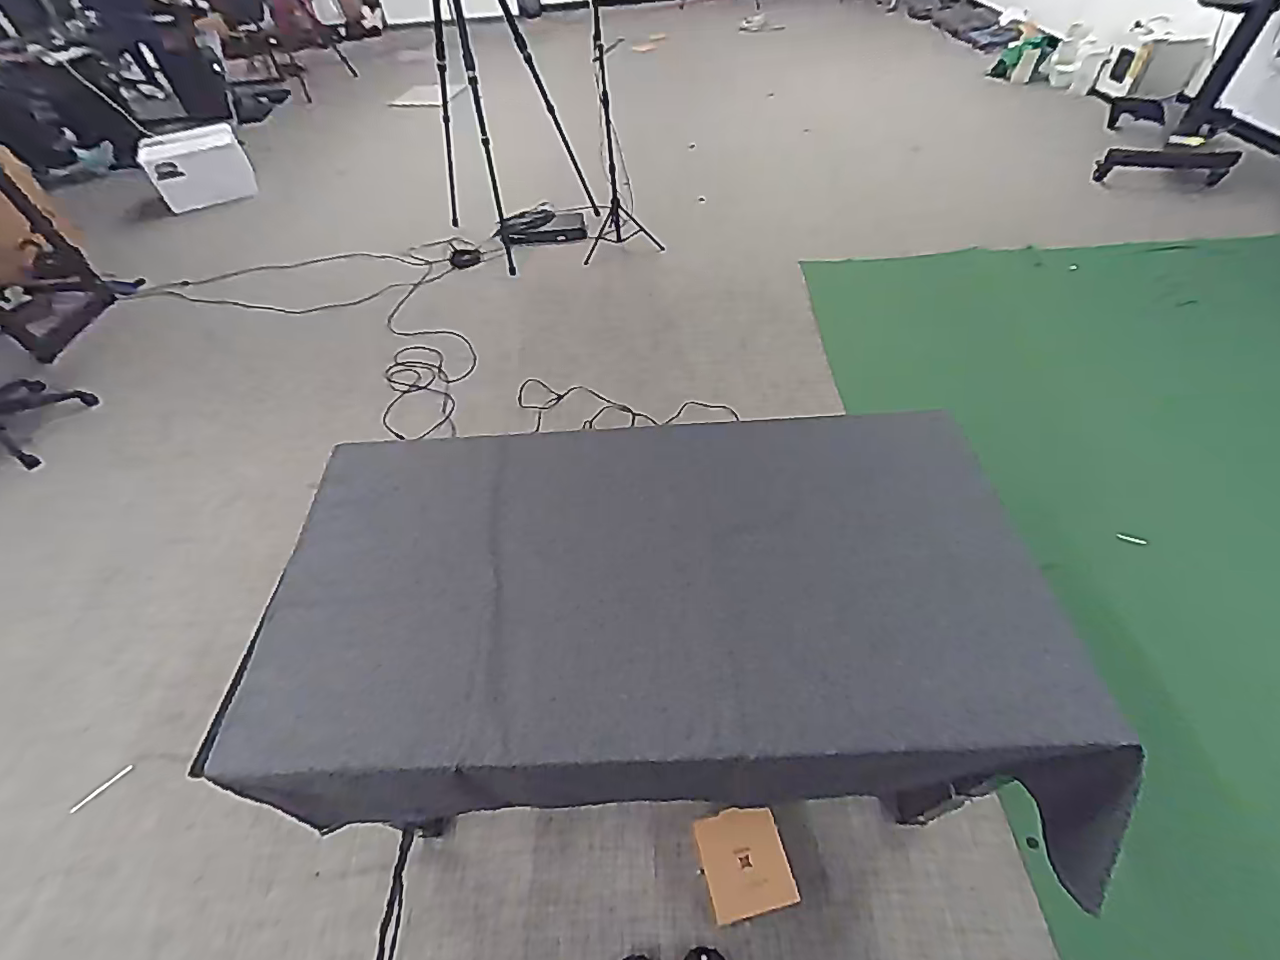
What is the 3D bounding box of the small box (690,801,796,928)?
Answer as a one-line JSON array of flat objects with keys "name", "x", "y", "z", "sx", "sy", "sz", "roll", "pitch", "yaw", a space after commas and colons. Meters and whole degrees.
[{"name": "small box", "x": 0.204, "y": 0.805, "z": 1.131, "sx": 0.168, "sy": 0.176, "sz": 0.179, "roll": -12, "pitch": 49, "yaw": -6}]
